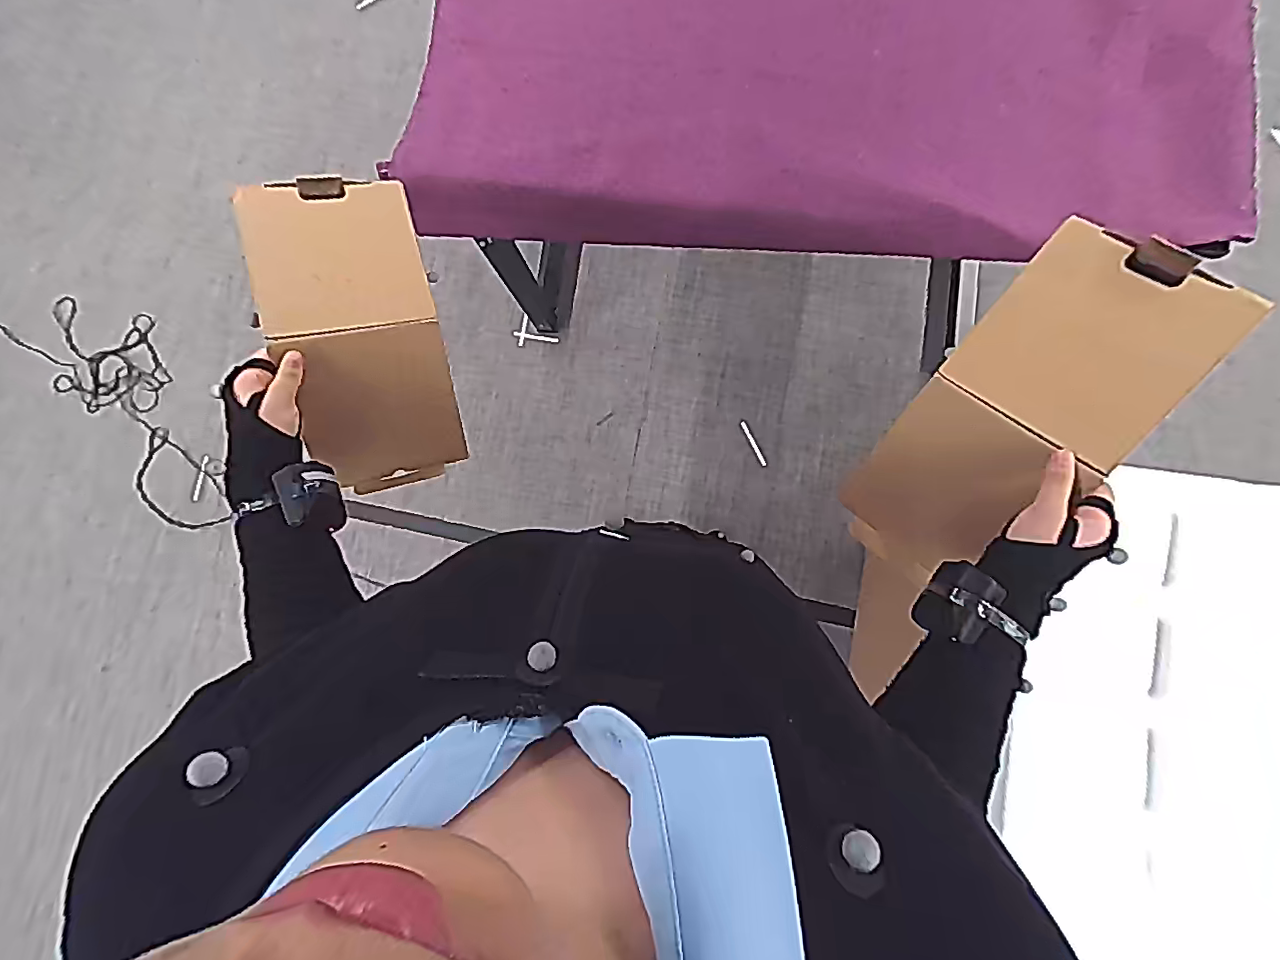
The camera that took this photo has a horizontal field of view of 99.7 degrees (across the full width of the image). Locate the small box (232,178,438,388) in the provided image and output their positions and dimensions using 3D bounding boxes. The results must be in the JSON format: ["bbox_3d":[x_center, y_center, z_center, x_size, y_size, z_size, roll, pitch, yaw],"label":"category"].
[{"bbox_3d":[-0.341,-0.219,0.637,0.168,0.176,0.179,-13,81,-22],"label":"small box"}]
